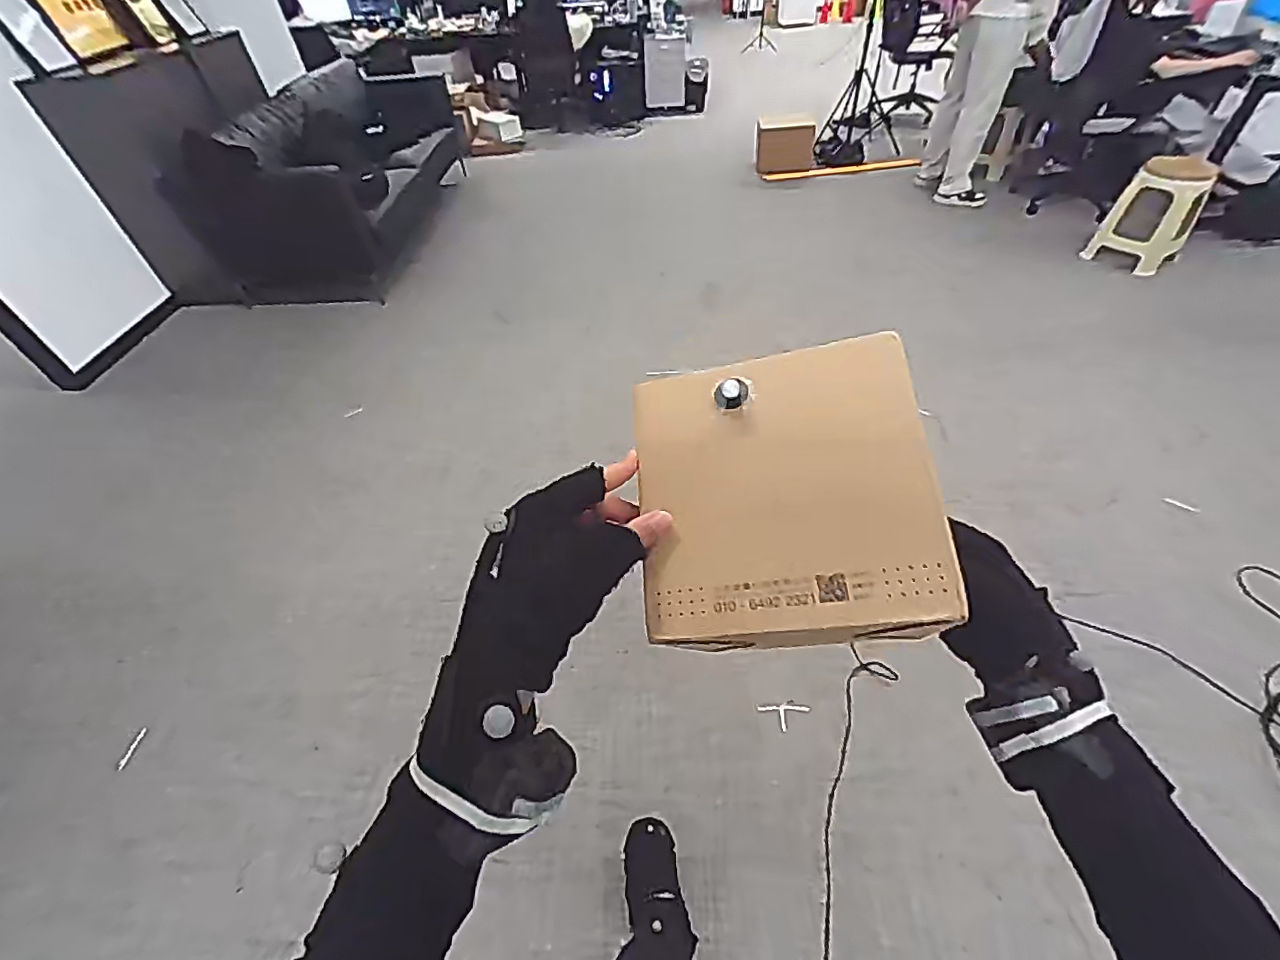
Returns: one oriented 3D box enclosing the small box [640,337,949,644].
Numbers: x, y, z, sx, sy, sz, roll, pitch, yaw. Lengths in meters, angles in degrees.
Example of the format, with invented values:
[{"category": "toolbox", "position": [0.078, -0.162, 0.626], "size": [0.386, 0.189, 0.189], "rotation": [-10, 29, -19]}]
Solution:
[{"category": "small box", "position": [0.104, 0.028, 0.397], "size": [0.168, 0.179, 0.176], "rotation": [-9, 69, 16]}]
